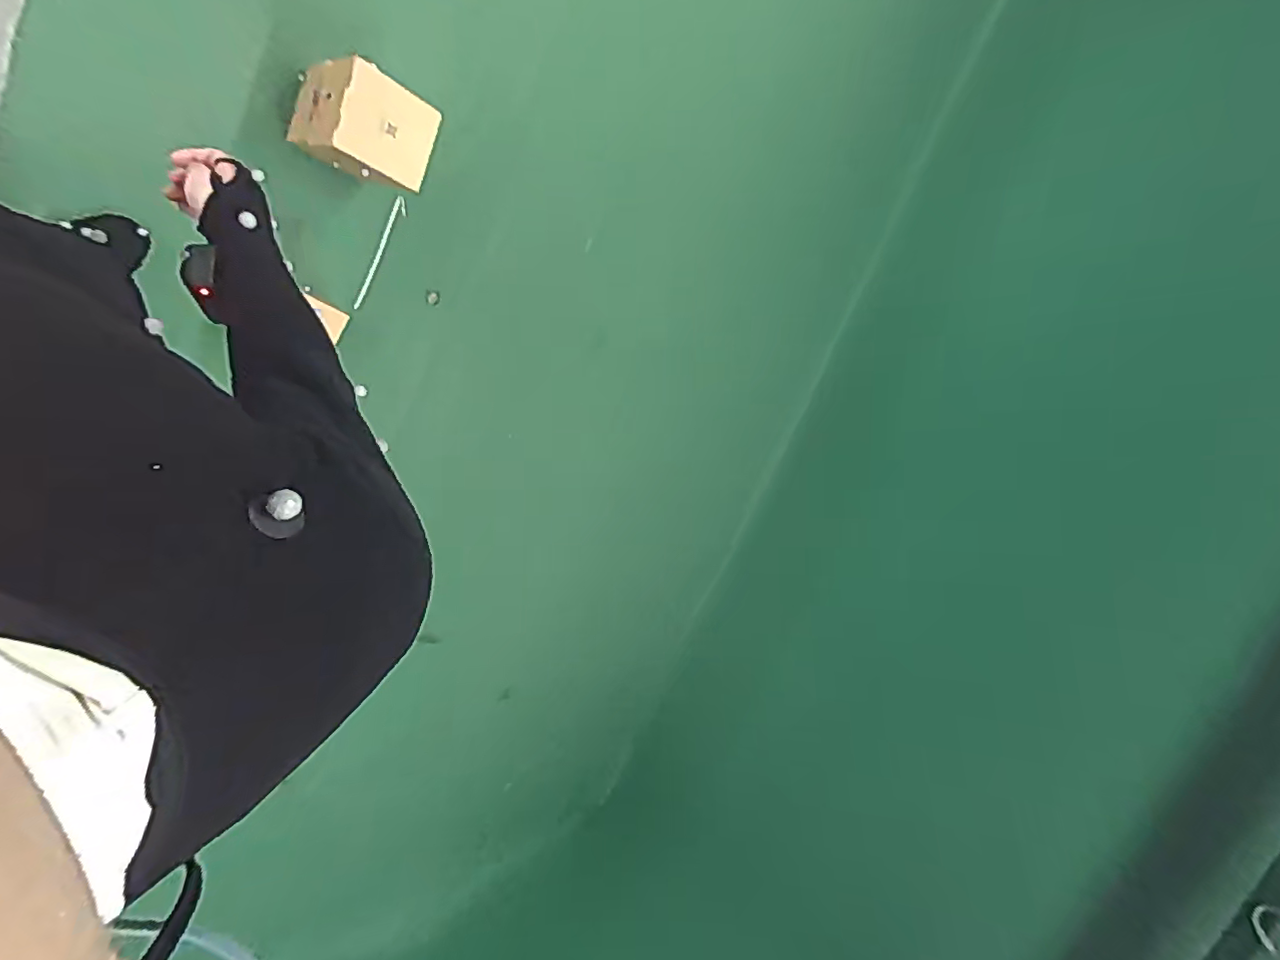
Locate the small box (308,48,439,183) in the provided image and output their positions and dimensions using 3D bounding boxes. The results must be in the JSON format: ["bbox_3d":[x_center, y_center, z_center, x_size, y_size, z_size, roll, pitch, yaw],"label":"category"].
[{"bbox_3d":[-0.555,-0.748,1.121,0.179,0.176,0.168,11,106,-48],"label":"small box"}]

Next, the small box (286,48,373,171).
[{"bbox_3d":[-0.665,-0.819,1.217,0.179,0.176,0.168,12,105,-50],"label":"small box"}]
